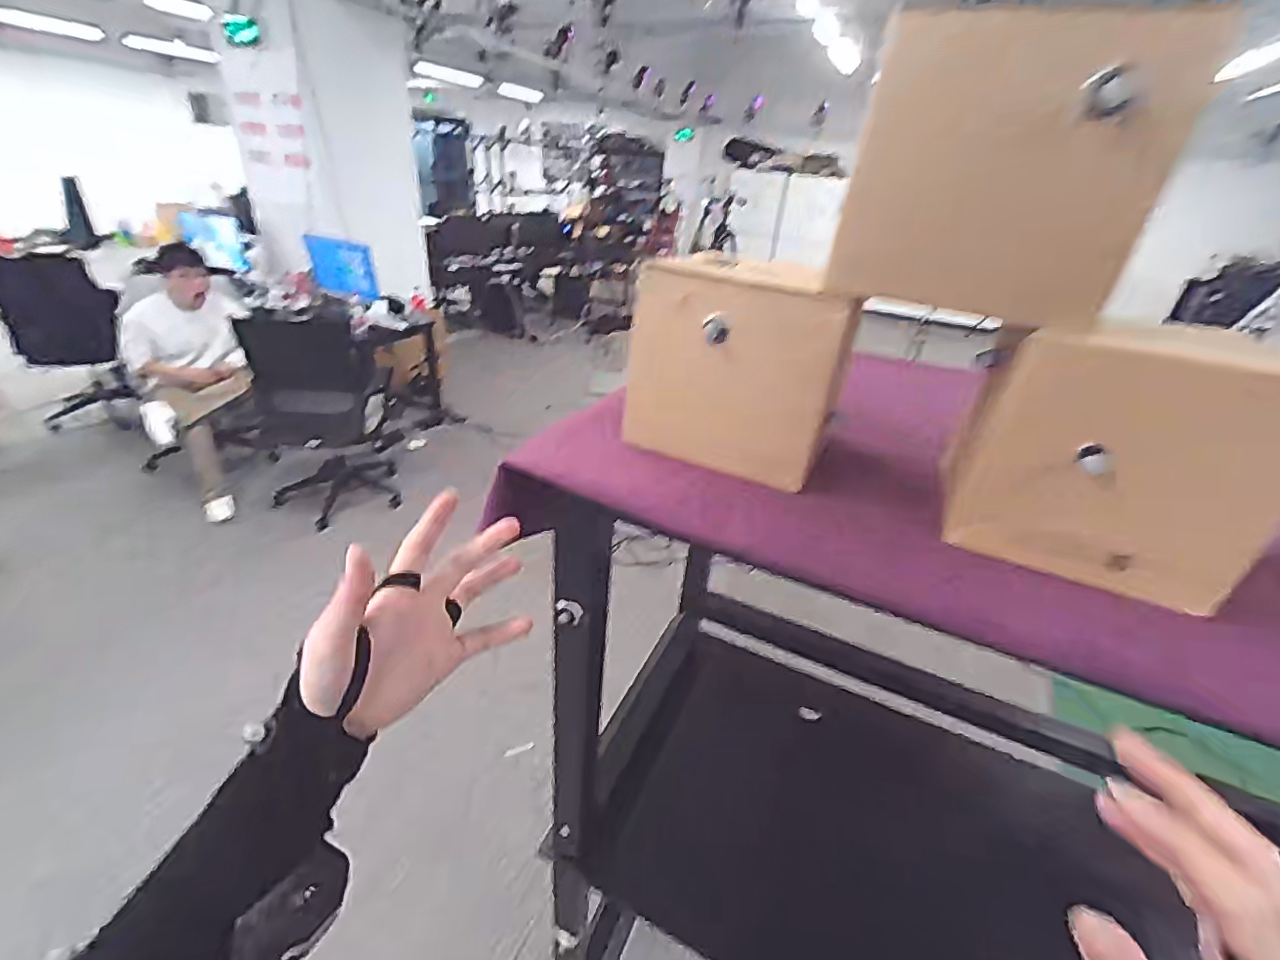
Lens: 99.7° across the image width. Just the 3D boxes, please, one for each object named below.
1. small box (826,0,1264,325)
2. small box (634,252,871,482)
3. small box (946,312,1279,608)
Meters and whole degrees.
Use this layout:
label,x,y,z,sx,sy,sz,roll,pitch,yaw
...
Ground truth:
label,x,y,z,sx,sy,sz,roll,pitch,yaw
small box,0.258,-0.217,0.395,0.179,0.176,0.168,19,31,22
small box,0.106,-0.116,0.522,0.179,0.176,0.168,18,31,20
small box,0.356,-0.031,0.420,0.168,0.176,0.179,17,30,22
